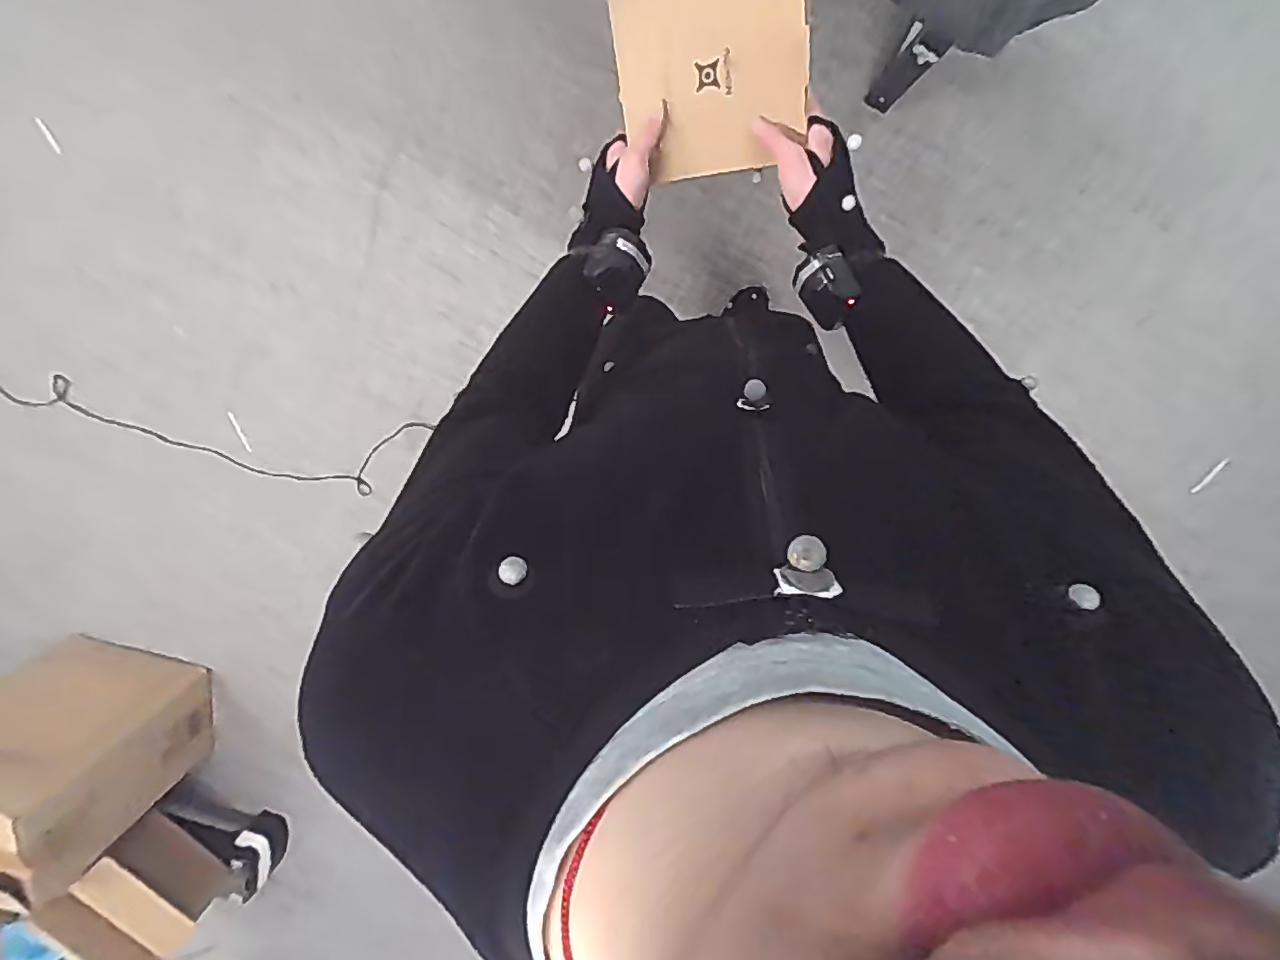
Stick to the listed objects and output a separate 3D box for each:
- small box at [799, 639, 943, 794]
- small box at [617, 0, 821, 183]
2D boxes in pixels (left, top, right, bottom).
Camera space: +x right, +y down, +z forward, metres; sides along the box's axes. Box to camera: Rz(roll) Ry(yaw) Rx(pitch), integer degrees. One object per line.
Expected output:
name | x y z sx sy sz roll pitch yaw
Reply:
small box | 0.426 0.447 1.036 0.168 0.176 0.179 31 111 -7
small box | 0.081 -0.416 0.558 0.179 0.176 0.168 -5 119 10
